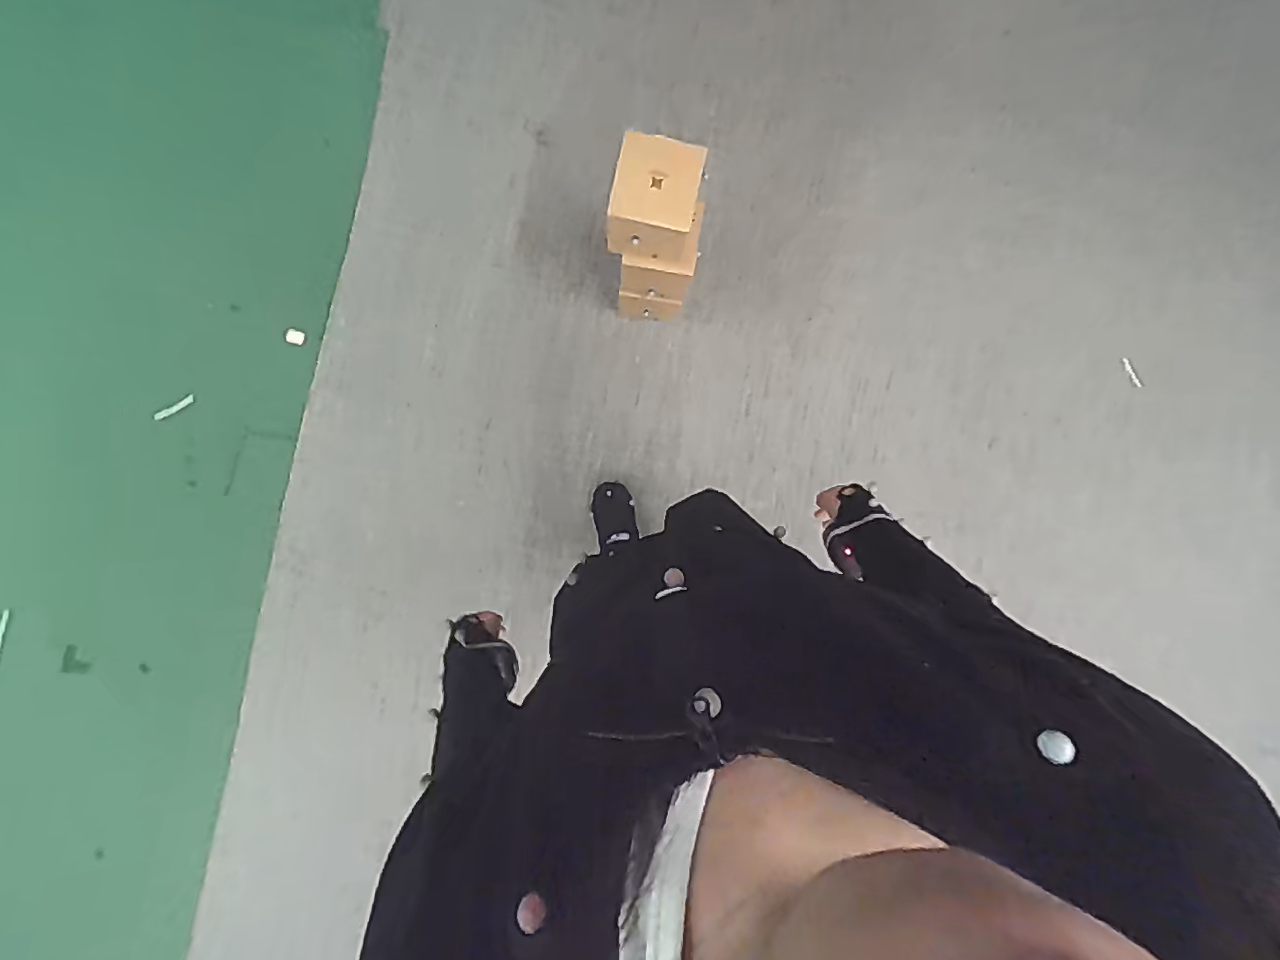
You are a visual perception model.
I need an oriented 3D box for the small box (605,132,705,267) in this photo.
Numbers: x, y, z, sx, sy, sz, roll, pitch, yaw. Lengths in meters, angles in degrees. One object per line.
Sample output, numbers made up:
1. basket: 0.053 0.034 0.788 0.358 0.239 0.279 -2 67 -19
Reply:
1. small box: 0.029 -0.571 1.124 0.168 0.176 0.179 12 88 -1
